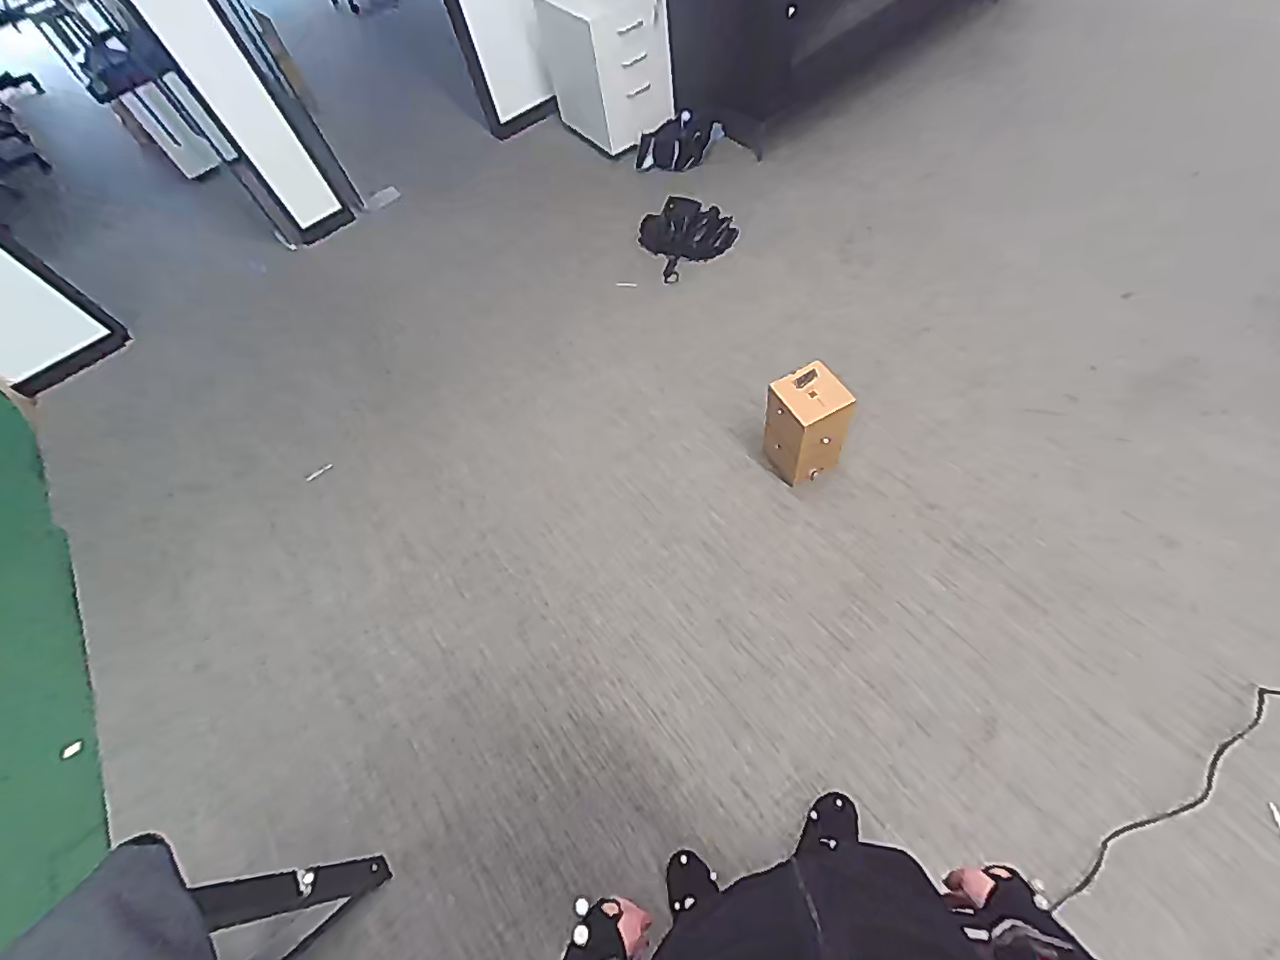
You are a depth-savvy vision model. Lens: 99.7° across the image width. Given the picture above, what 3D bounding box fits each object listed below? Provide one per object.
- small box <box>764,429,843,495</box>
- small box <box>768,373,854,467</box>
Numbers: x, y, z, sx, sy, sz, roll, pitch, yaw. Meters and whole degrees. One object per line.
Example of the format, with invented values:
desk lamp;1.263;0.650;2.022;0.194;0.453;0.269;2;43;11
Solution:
small box;0.504;-0.084;1.700;0.168;0.176;0.179;-27;60;-7
small box;0.483;-0.169;1.560;0.168;0.176;0.179;-26;59;-6
